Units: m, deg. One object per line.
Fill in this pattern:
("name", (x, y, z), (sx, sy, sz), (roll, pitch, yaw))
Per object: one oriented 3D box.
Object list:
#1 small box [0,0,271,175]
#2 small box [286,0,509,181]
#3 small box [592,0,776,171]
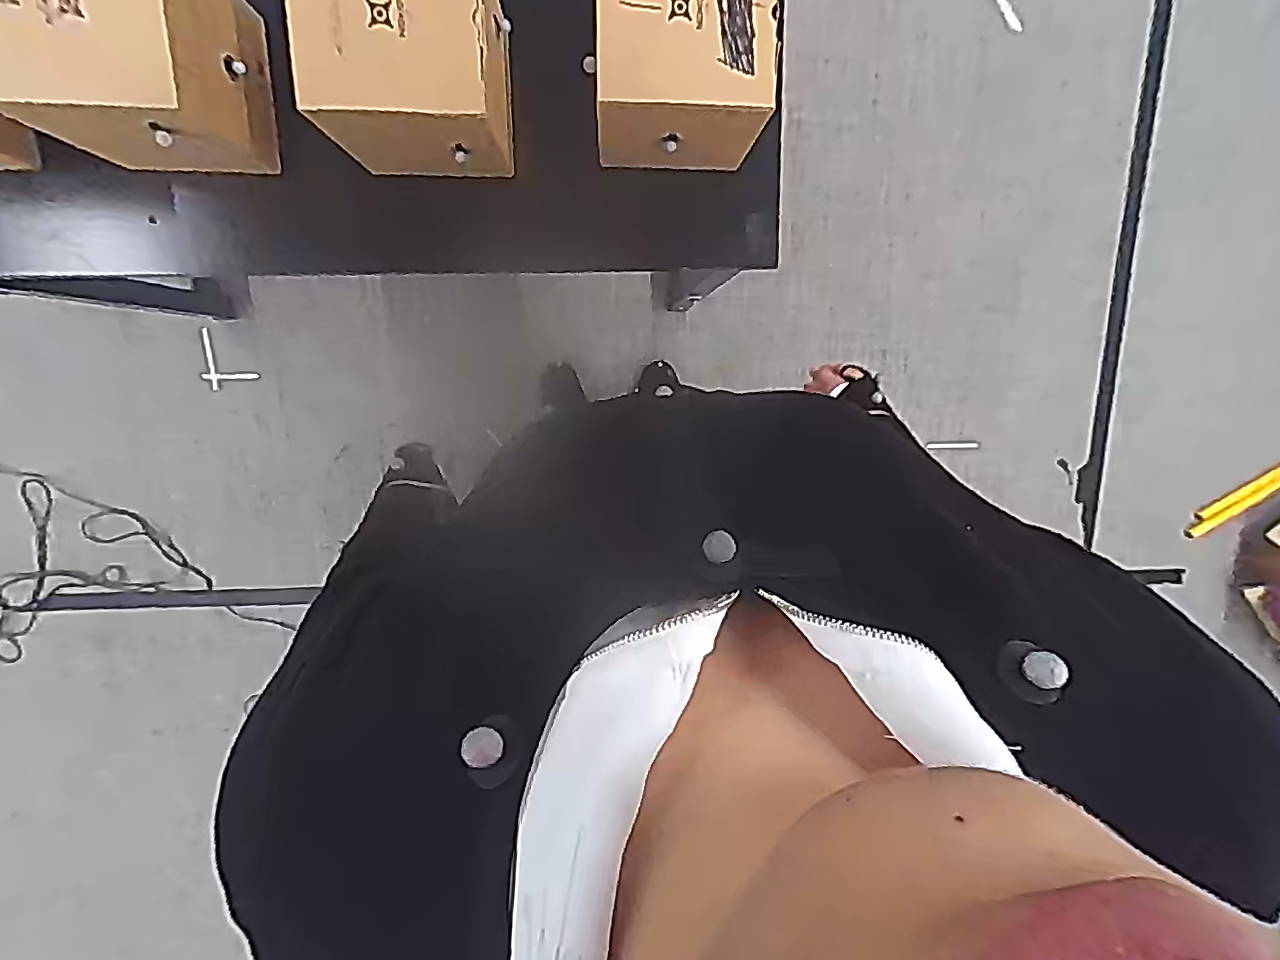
("small box", (-0.513, -0.431, 0.554), (0.179, 0.176, 0.168), (-1, 101, -4))
("small box", (-0.240, -0.436, 0.575), (0.179, 0.176, 0.168), (-2, 100, -3))
("small box", (0.038, -0.456, 0.588), (0.179, 0.176, 0.168), (0, 101, -3))
